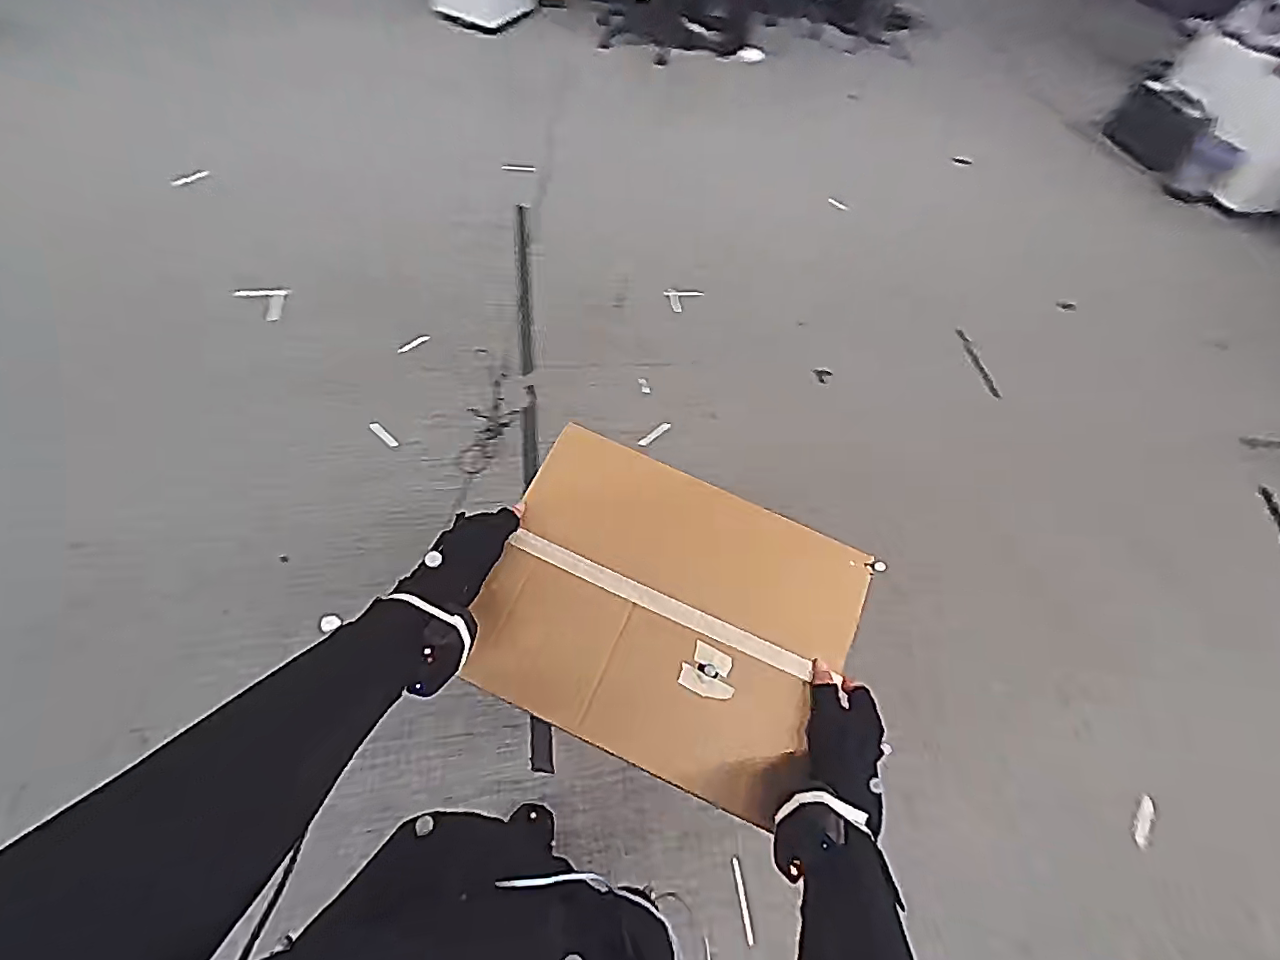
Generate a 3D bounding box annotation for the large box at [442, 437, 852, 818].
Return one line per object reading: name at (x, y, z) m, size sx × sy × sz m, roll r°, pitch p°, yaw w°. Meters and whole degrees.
large box at (0.008, 0.199, 0.756) m, size 0.408 × 0.320 × 0.320 m, roll 23°, pitch 69°, yaw 3°
